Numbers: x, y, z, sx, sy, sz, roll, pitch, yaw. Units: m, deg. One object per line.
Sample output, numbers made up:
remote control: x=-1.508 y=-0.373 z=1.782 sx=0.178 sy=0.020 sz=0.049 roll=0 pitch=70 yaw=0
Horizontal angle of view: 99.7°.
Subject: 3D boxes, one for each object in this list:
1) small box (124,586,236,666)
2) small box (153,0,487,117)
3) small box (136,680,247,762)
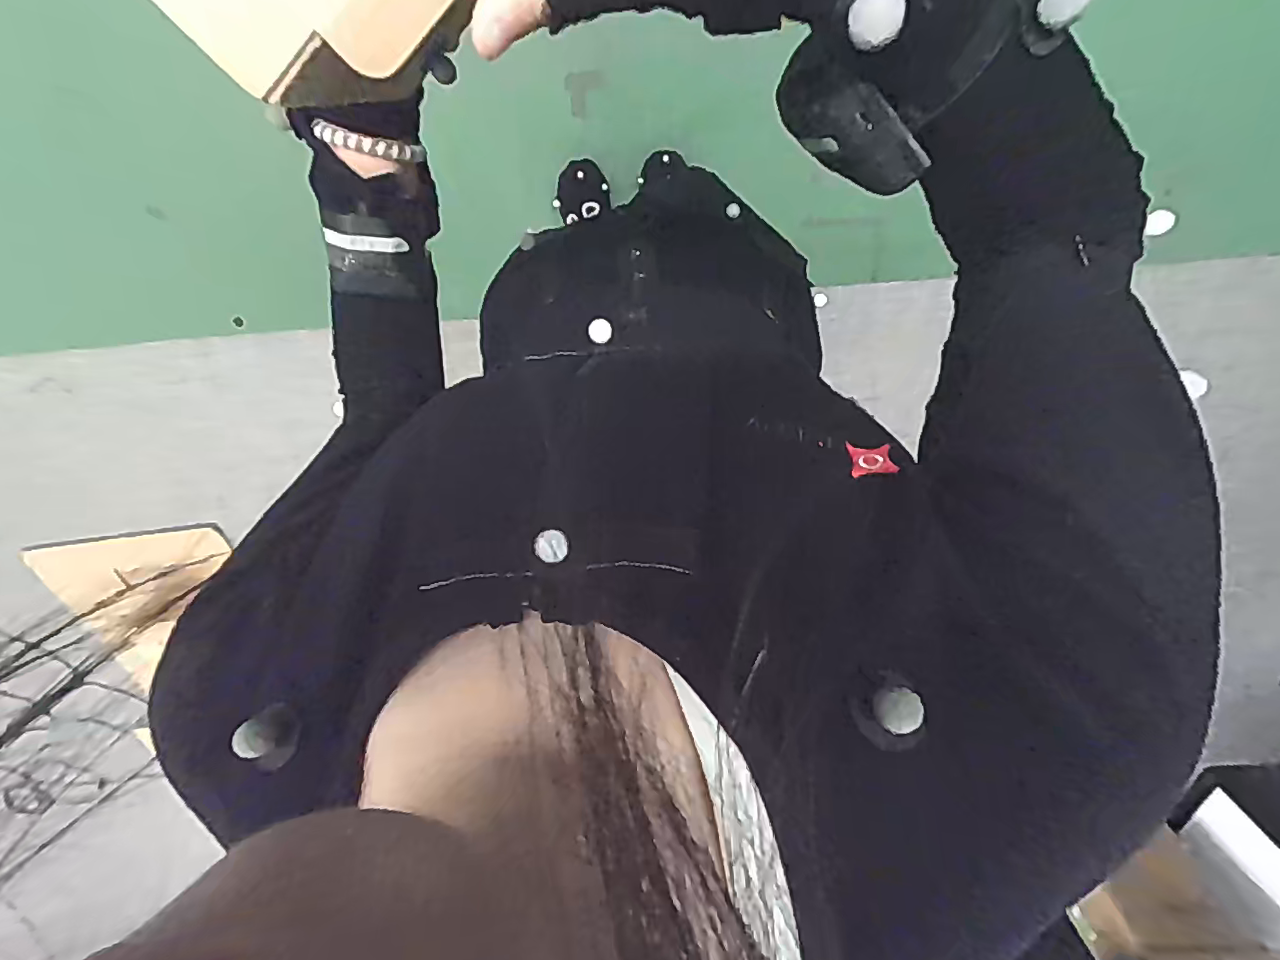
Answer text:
small box: x=-1.442 y=0.457 z=1.709 sx=0.179 sy=0.176 sz=0.168 roll=-9 pitch=121 yaw=0
small box: x=-0.117 y=-0.264 z=0.178 sx=0.168 sy=0.176 sz=0.179 roll=-35 pitch=121 yaw=19
small box: x=-1.395 y=0.751 z=1.696 sx=0.179 sy=0.176 sz=0.168 roll=-5 pitch=123 yaw=-2
